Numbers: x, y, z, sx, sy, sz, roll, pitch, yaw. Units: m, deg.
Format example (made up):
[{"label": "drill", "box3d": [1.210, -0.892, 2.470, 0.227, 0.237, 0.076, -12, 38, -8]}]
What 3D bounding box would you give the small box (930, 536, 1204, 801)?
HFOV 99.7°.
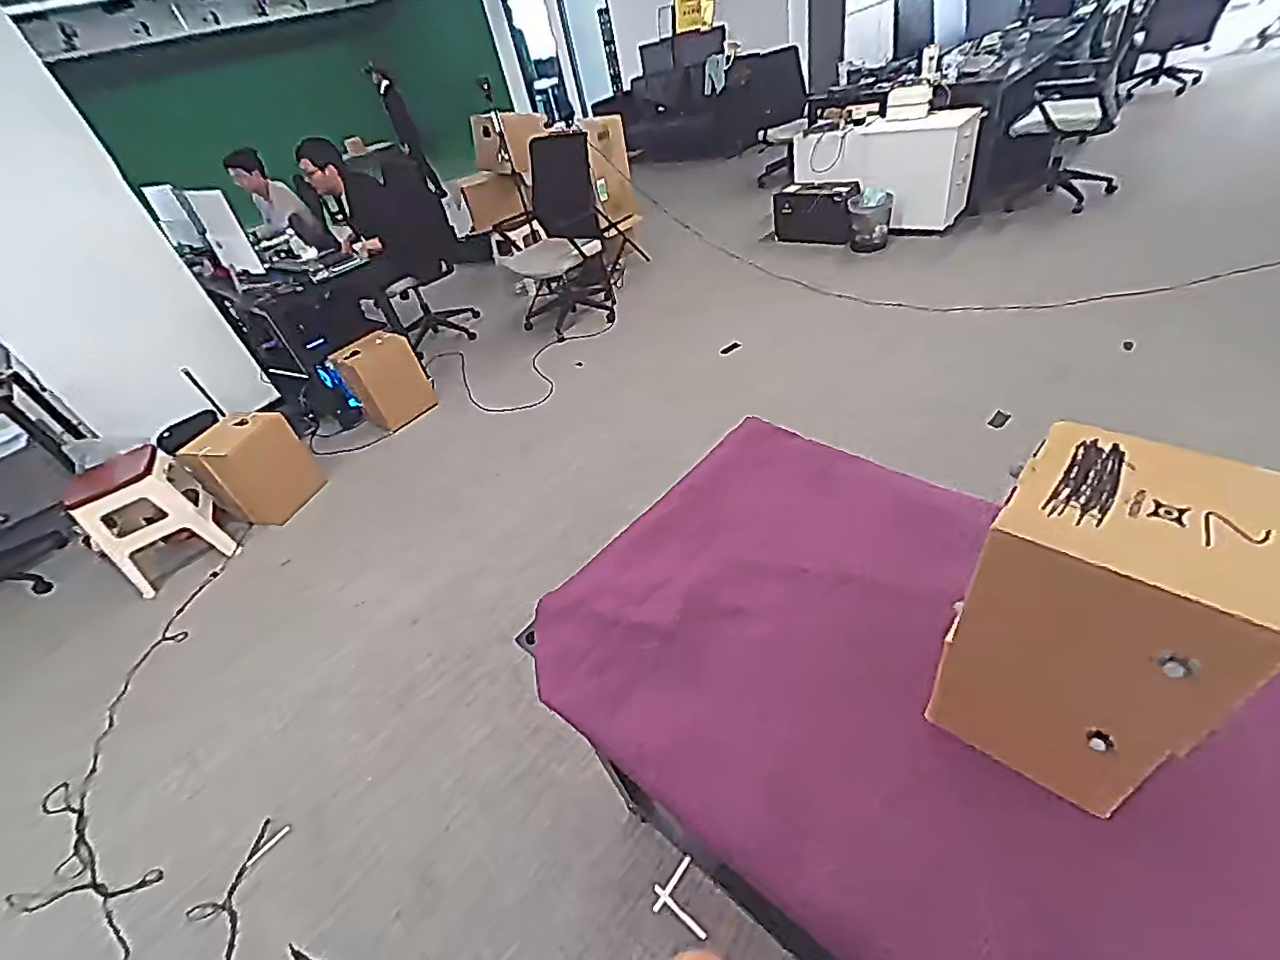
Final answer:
[{"label": "small box", "box3d": [0.435, 0.197, 0.576, 0.179, 0.176, 0.168, 24, 53, 36]}]
